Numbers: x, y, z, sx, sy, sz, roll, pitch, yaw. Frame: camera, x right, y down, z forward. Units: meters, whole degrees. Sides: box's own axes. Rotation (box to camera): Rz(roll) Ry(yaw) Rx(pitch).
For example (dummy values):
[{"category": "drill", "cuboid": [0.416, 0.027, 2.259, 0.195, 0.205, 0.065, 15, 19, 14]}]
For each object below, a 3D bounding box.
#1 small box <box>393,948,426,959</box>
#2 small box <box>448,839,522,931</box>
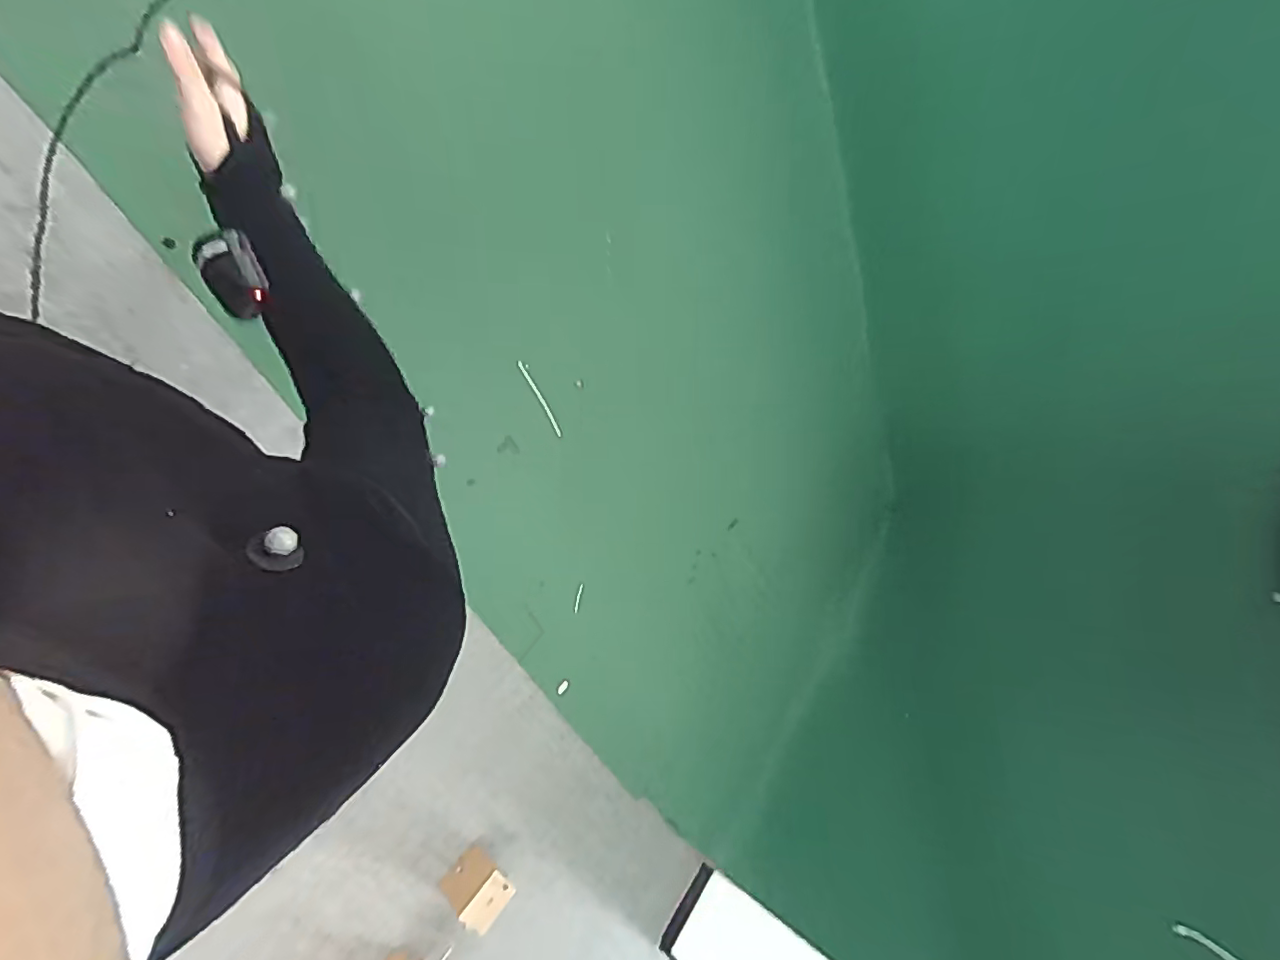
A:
[{"category": "small box", "cuboid": [-0.785, 1.732, 1.810, 0.179, 0.176, 0.168, -45, 126, -28]}, {"category": "small box", "cuboid": [-0.572, 1.468, 1.968, 0.179, 0.176, 0.168, -44, 126, -29]}]
